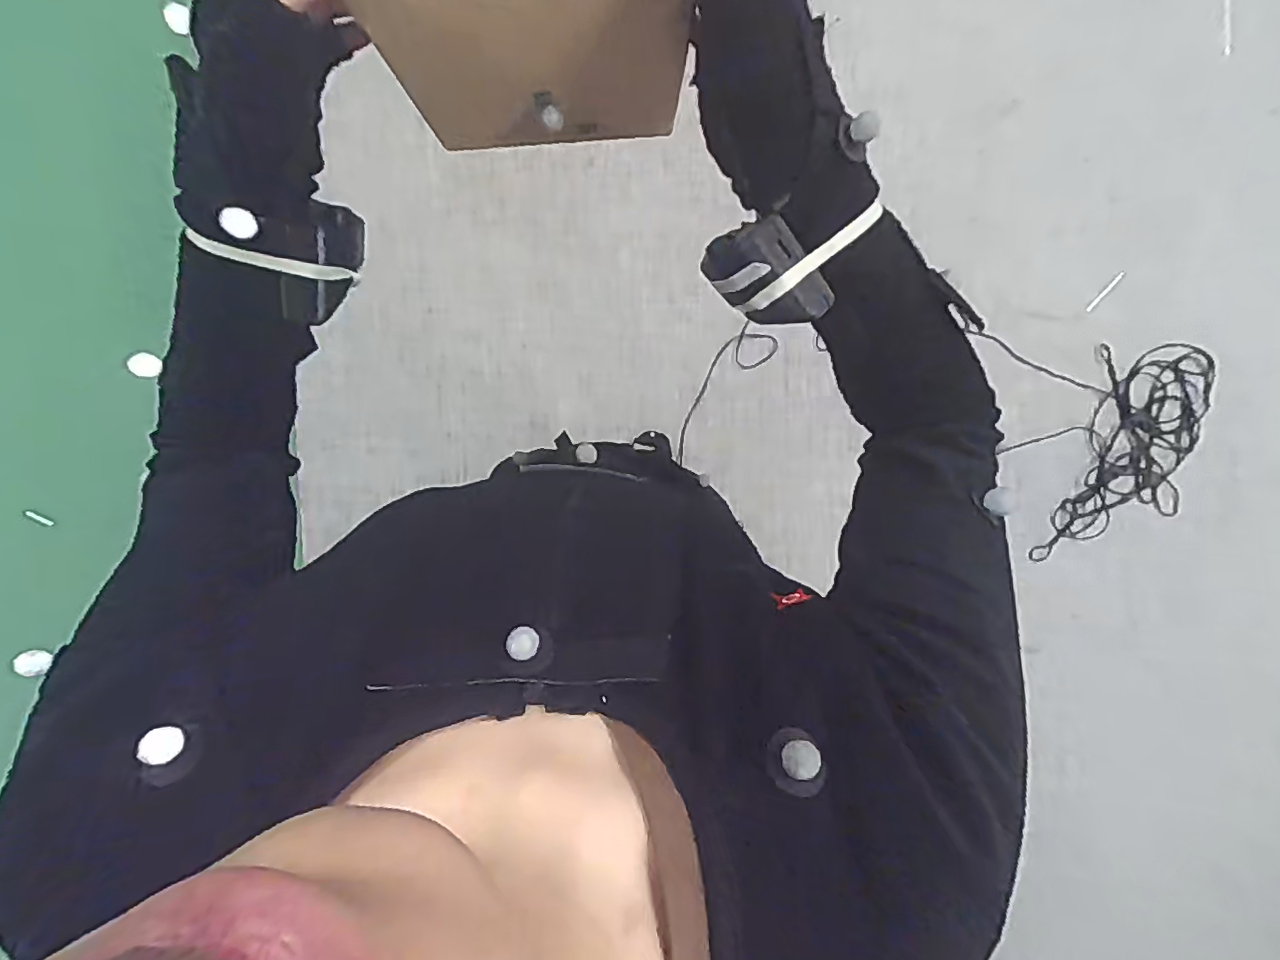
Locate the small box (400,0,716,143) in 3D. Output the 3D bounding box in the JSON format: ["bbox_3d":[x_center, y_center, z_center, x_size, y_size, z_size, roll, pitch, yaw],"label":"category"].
[{"bbox_3d":[-0.050,-0.324,0.300,0.168,0.176,0.179,-4,97,-1],"label":"small box"}]
